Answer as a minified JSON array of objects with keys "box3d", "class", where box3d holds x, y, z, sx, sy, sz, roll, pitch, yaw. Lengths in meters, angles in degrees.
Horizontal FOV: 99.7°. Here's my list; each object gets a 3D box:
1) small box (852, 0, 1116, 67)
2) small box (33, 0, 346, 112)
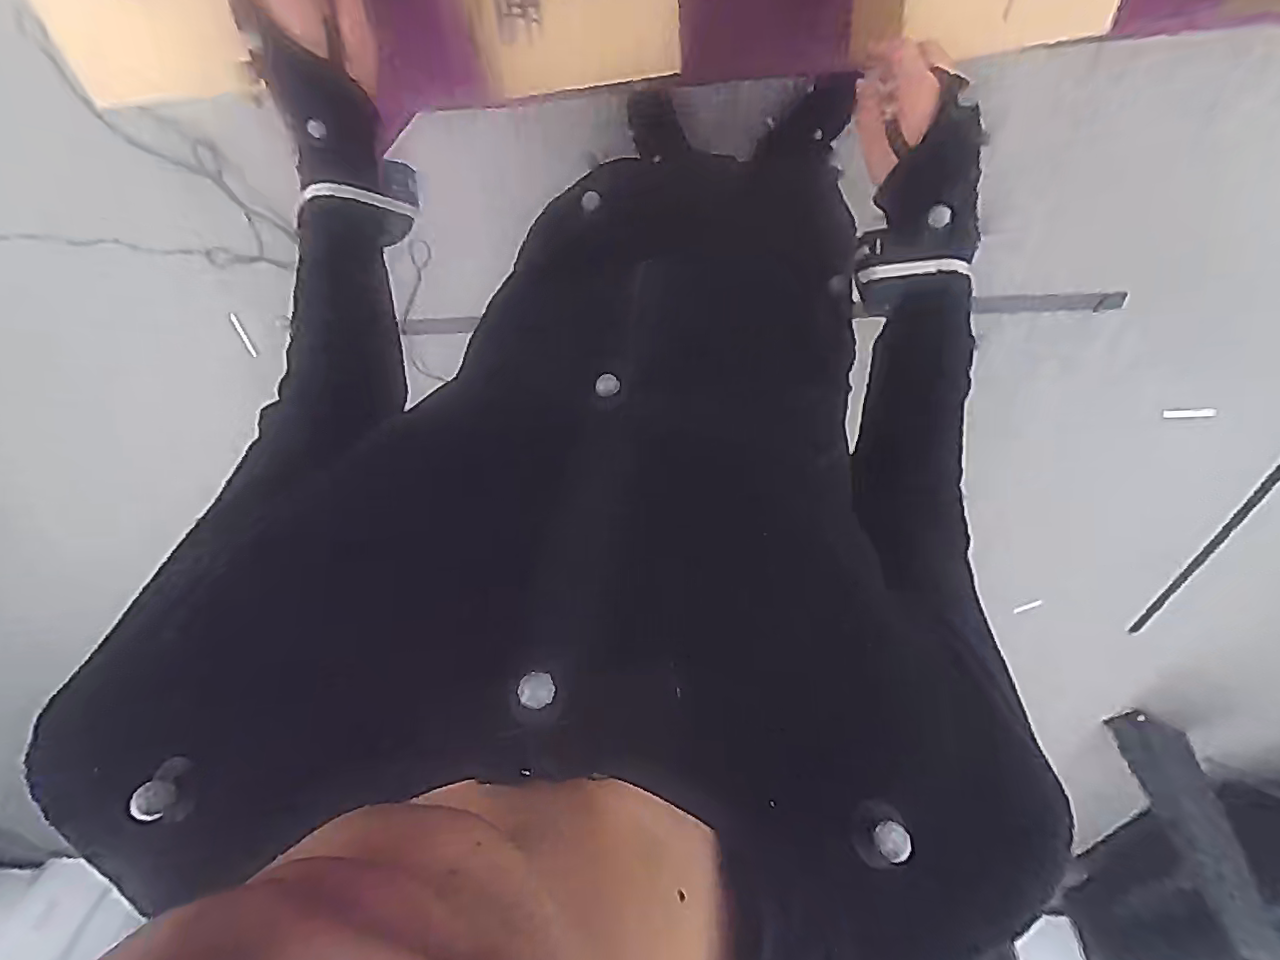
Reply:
[{"box3d":[0.287,-0.473,0.453,0.168,0.176,0.179,-5,131,8],"class":"small box"},{"box3d":[-0.422,-0.459,0.506,0.179,0.176,0.168,-4,131,5],"class":"small box"}]
